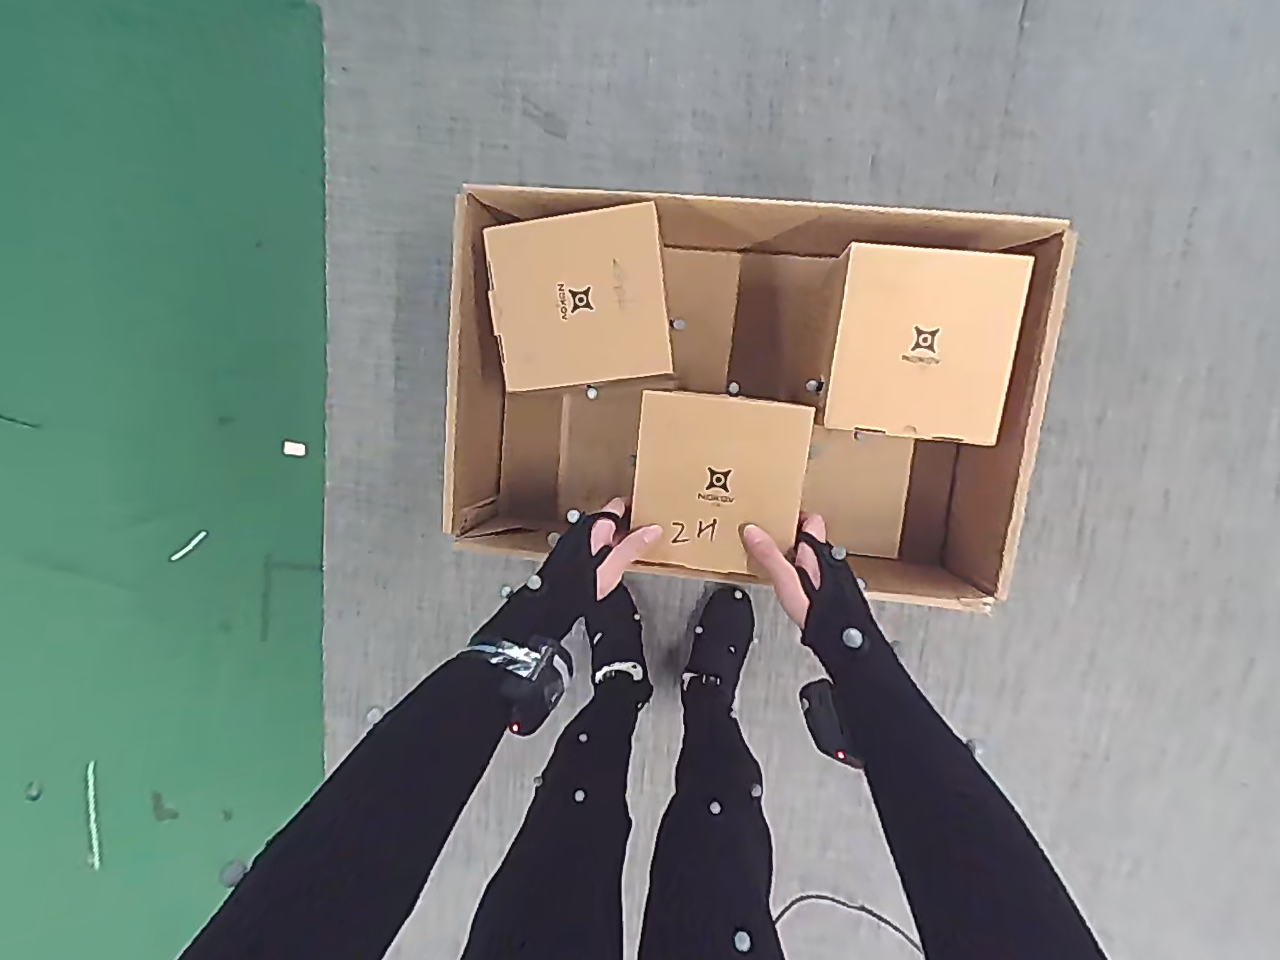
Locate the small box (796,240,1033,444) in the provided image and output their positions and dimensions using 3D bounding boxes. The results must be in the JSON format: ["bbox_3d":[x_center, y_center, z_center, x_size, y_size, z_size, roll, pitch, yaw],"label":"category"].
[{"bbox_3d":[0.277,-0.141,0.590,0.168,0.176,0.179,7,100,5],"label":"small box"}]

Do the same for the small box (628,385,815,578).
[{"bbox_3d":[0.087,-0.012,0.611,0.168,0.176,0.179,8,103,7],"label":"small box"}]
